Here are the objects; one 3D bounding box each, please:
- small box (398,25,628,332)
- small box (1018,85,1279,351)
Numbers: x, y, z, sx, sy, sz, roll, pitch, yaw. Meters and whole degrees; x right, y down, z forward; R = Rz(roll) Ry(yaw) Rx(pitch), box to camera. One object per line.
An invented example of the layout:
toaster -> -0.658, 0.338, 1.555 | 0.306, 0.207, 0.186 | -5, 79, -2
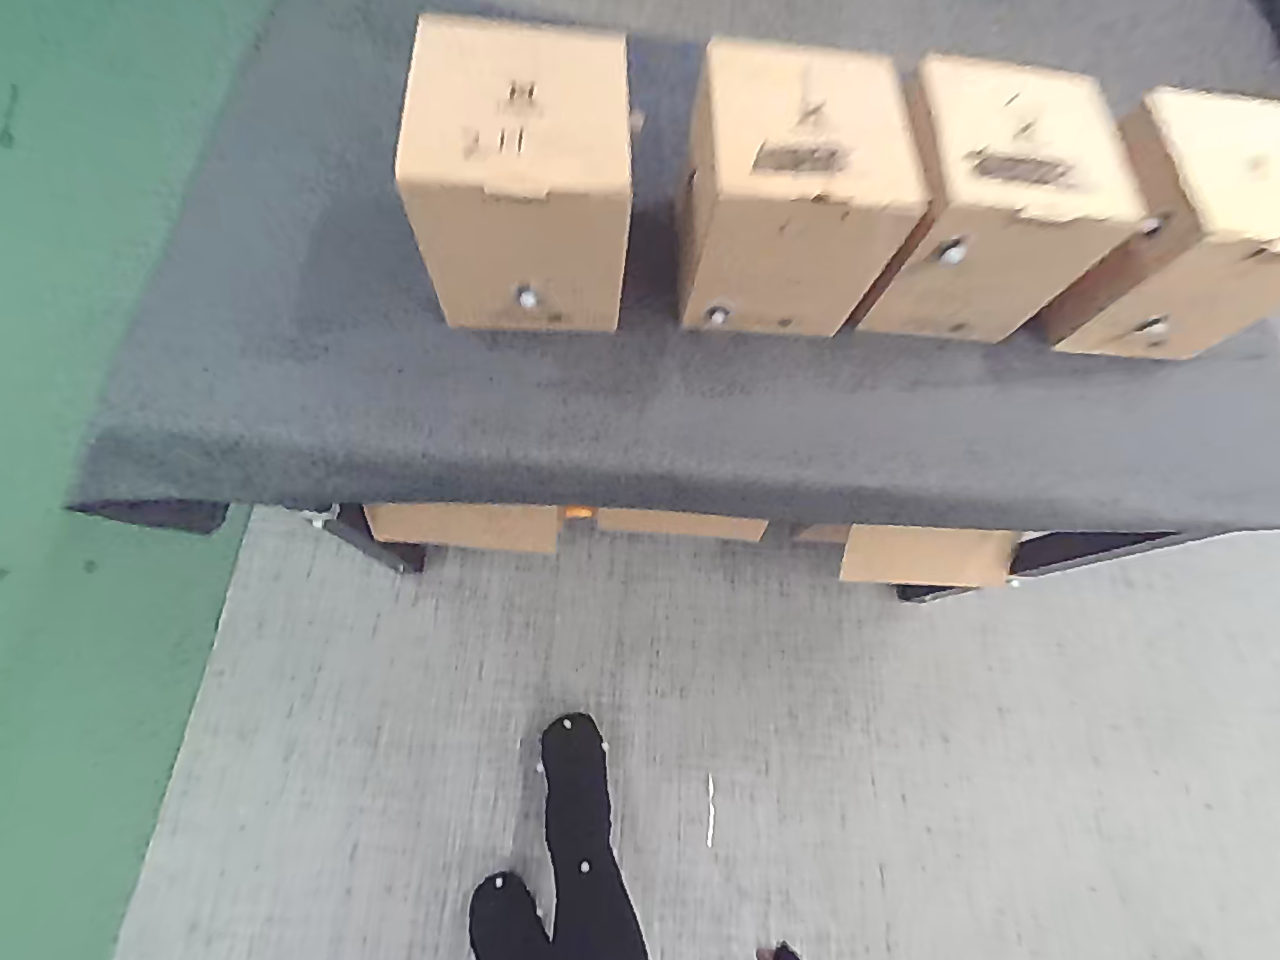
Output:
small box -> -0.101, -0.258, 0.491 | 0.168, 0.176, 0.179 | -1, 70, -6
small box -> 0.537, -0.258, 0.560 | 0.168, 0.176, 0.179 | 2, 70, -5
